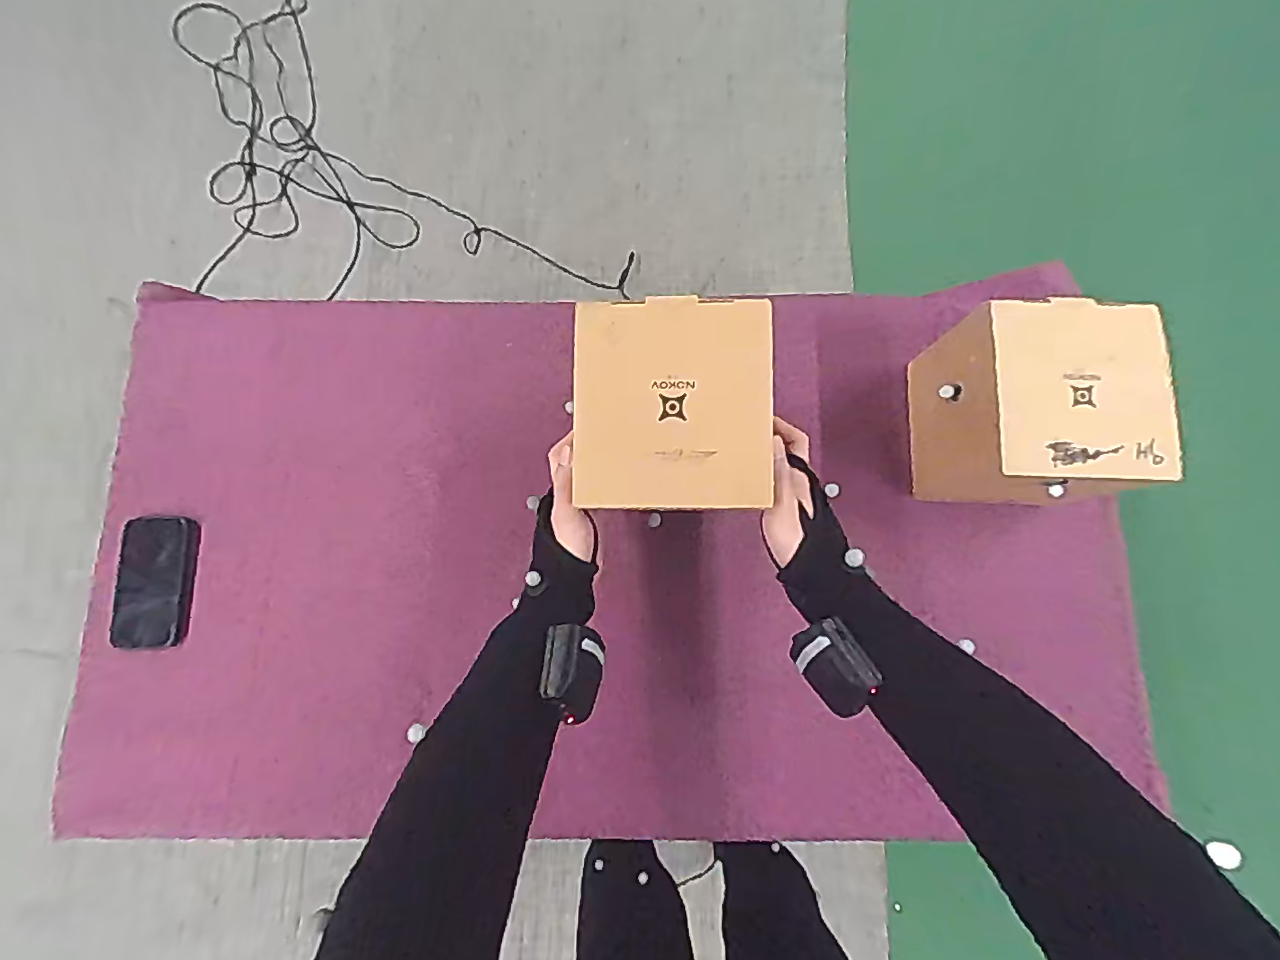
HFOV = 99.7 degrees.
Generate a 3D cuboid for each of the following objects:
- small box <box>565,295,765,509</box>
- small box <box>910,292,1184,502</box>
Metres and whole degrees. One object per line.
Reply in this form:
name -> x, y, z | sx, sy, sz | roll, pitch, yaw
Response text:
small box -> 0.025, -0.061, 0.525 | 0.168, 0.176, 0.179 | 0, 87, 4
small box -> 0.409, -0.078, 0.579 | 0.168, 0.176, 0.179 | 1, 80, 2
